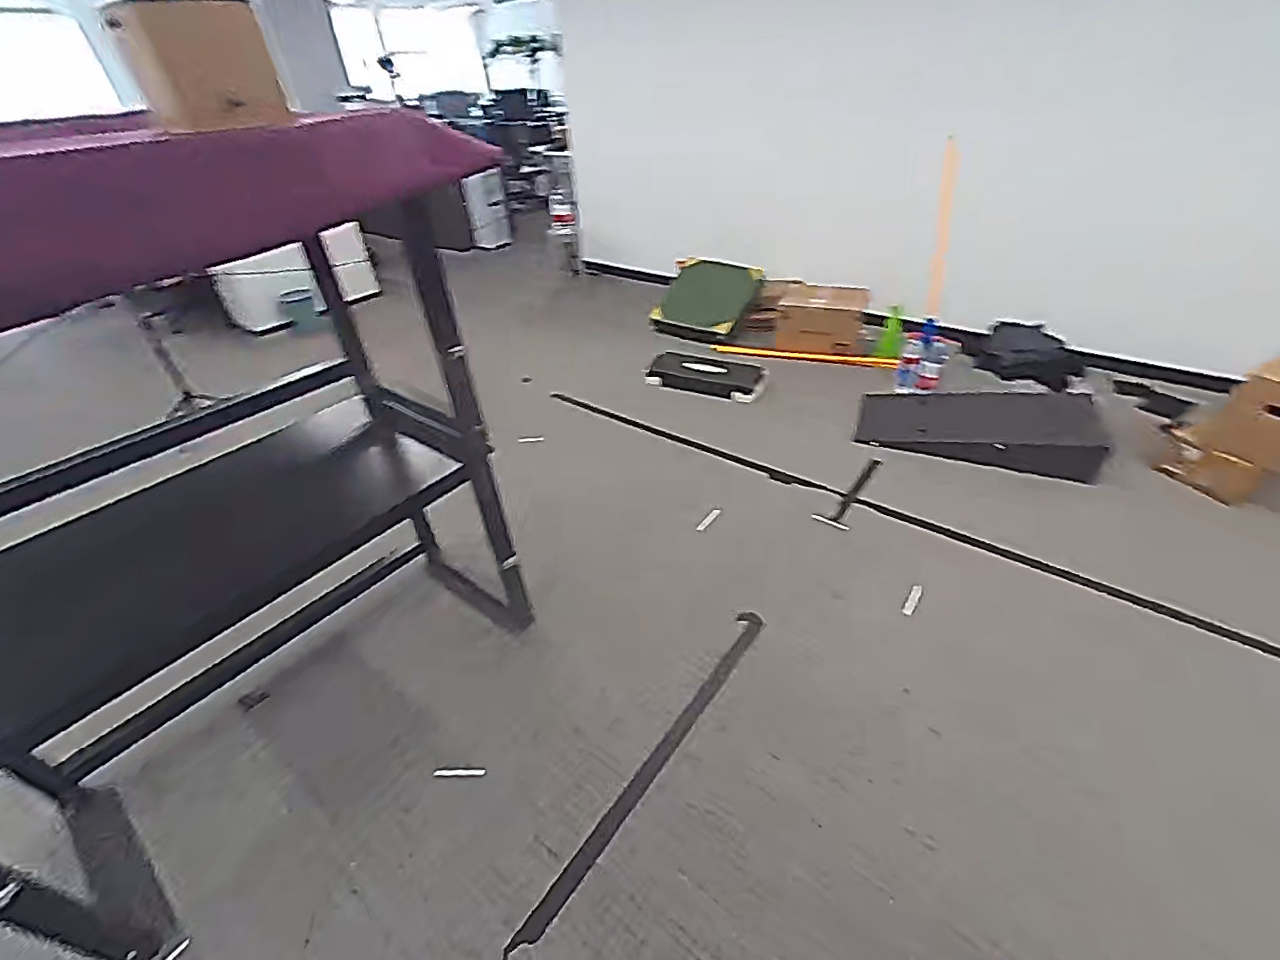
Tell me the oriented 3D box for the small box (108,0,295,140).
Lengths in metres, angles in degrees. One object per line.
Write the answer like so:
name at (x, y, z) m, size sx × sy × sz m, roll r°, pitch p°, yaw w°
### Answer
small box at (-0.716, -0.678, 0.904) m, size 0.168 × 0.176 × 0.179 m, roll 23°, pitch 44°, yaw 32°
